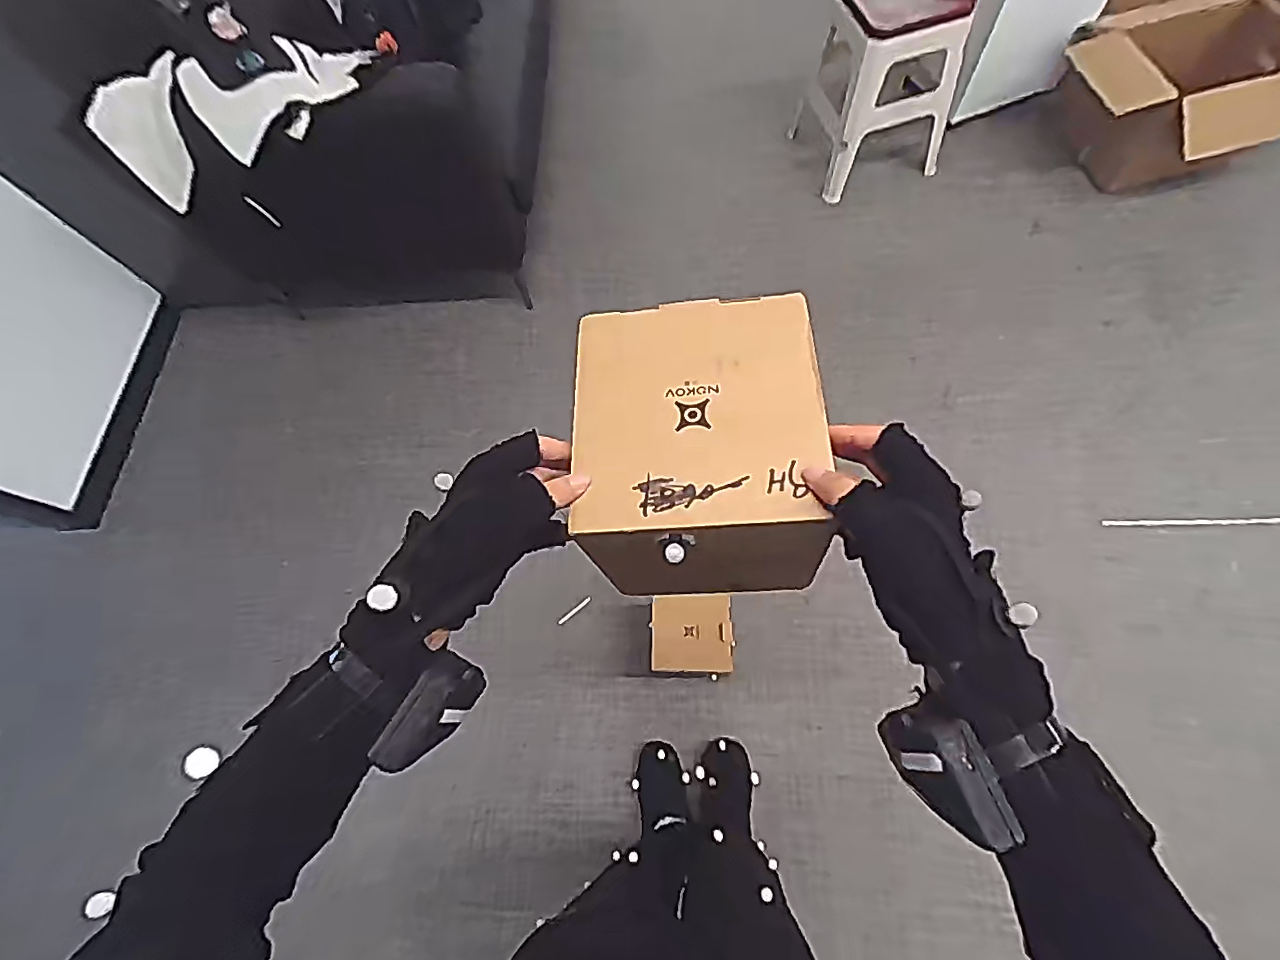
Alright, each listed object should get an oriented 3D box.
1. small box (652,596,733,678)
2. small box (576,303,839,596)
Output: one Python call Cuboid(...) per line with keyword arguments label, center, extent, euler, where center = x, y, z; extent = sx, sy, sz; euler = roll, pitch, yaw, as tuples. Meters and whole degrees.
Cuboid(label="small box", center=(0.124, 0.368, 1.255), extent=(0.179, 0.176, 0.168), euler=(-1, 68, 7))
Cuboid(label="small box", center=(0.054, -0.013, 0.442), extent=(0.168, 0.176, 0.179), euler=(-4, 63, 9))
